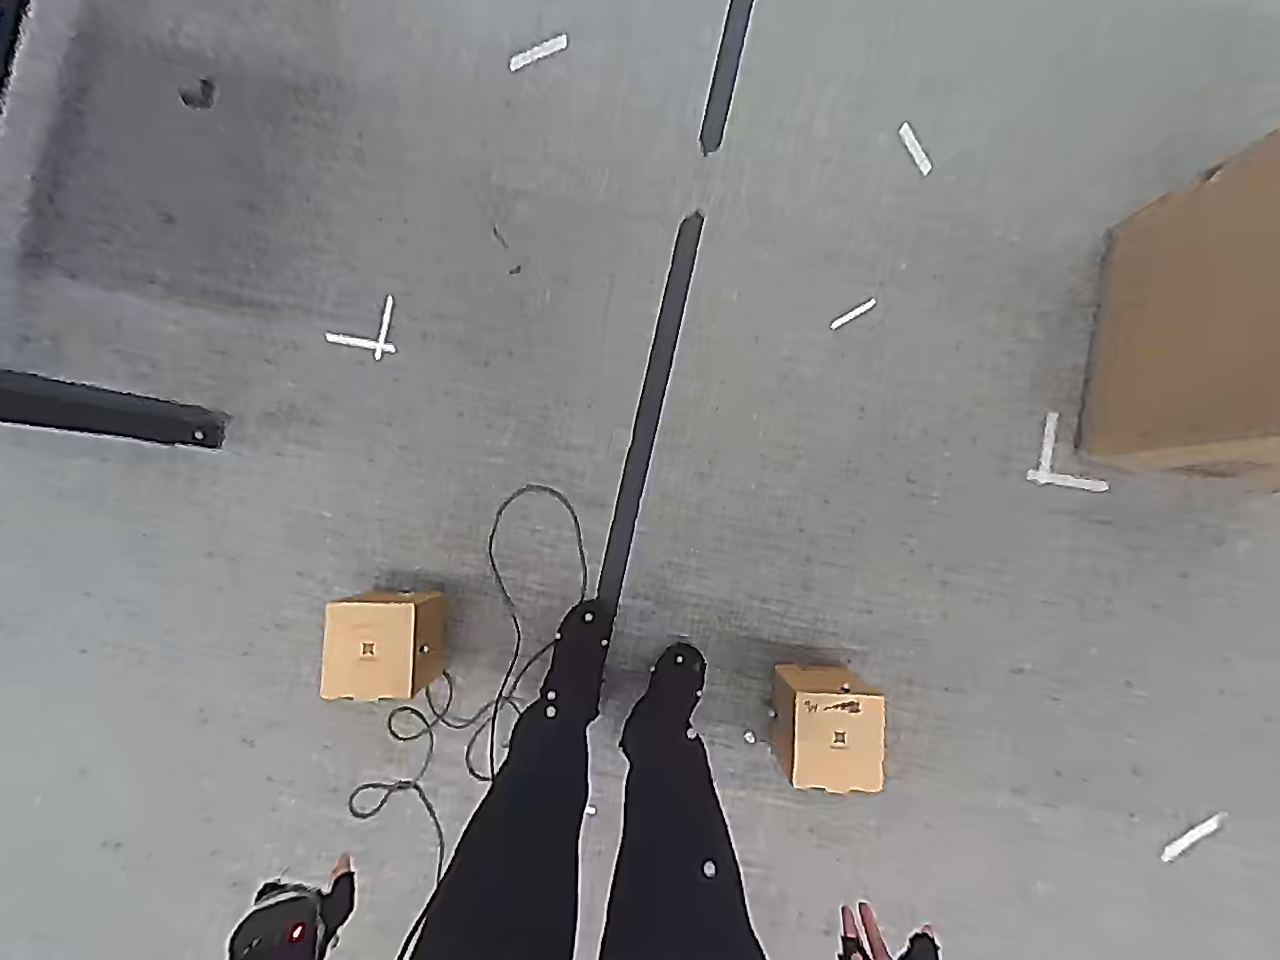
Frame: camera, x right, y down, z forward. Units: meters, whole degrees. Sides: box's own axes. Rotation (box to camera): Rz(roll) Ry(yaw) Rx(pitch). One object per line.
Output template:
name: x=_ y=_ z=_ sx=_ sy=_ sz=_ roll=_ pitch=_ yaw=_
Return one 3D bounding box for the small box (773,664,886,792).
small box: x=0.363 y=0.478 z=1.064 sx=0.168 sy=0.176 sz=0.179 roll=2 pitch=88 yaw=0

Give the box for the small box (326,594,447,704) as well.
small box: x=-0.492 y=0.327 z=1.072 sx=0.168 sy=0.176 sz=0.179 roll=0 pitch=85 yaw=-1
